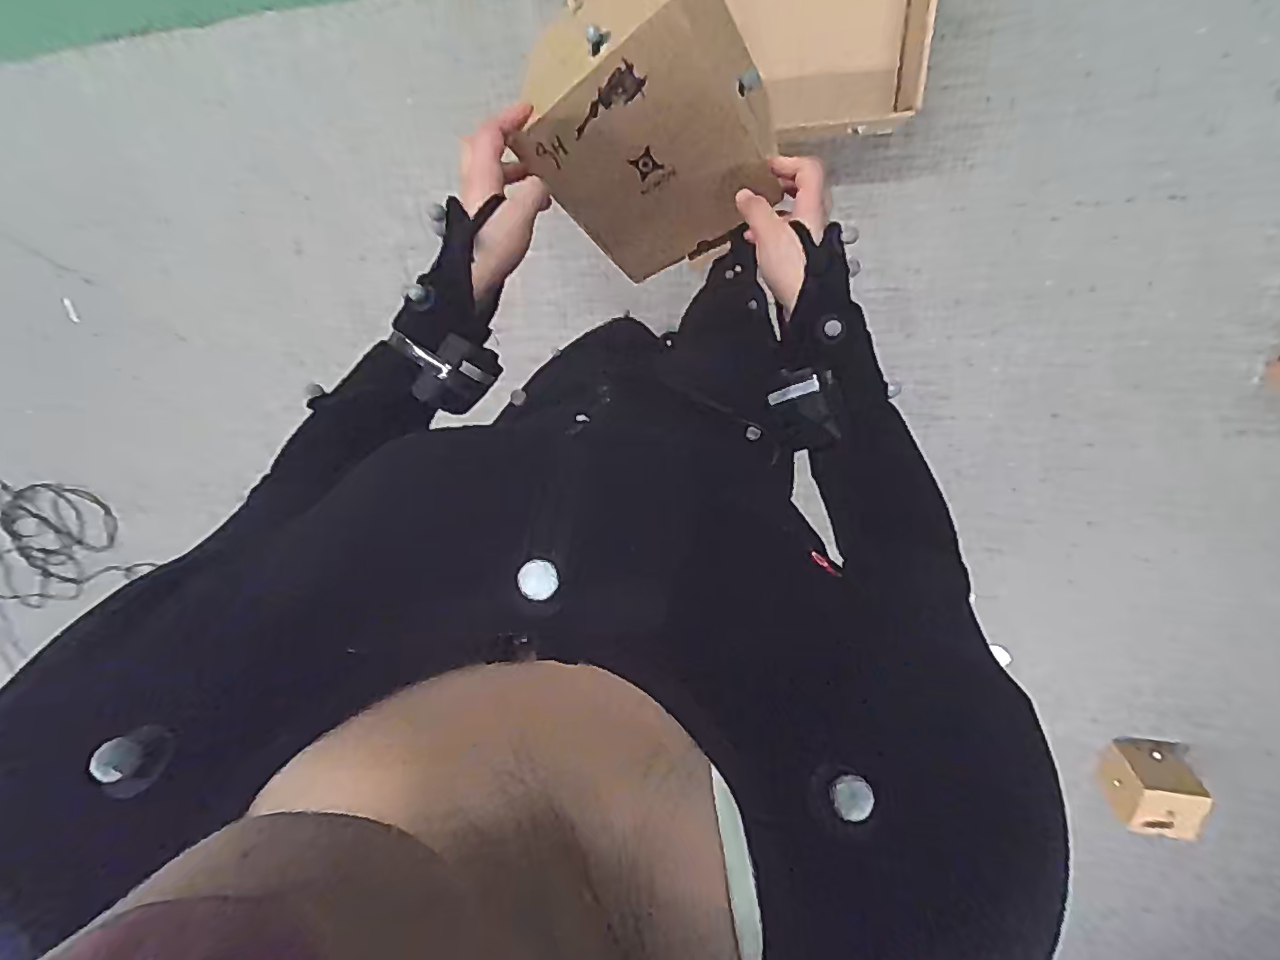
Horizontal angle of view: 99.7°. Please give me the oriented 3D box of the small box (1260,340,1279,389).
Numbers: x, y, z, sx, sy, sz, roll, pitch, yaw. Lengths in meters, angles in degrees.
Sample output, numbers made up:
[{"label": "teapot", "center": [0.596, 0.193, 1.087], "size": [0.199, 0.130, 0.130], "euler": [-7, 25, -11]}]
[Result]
[{"label": "small box", "center": [1.413, -0.240, 1.056], "size": [0.179, 0.176, 0.168], "euler": [6, 117, 9]}]

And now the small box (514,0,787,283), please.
[{"label": "small box", "center": [0.016, -0.324, 0.487], "size": [0.168, 0.176, 0.179], "euler": [-19, 145, 33]}]

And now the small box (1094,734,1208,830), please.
[{"label": "small box", "center": [1.510, 0.897, 1.615], "size": [0.168, 0.176, 0.179], "euler": [2, 116, 11]}]
